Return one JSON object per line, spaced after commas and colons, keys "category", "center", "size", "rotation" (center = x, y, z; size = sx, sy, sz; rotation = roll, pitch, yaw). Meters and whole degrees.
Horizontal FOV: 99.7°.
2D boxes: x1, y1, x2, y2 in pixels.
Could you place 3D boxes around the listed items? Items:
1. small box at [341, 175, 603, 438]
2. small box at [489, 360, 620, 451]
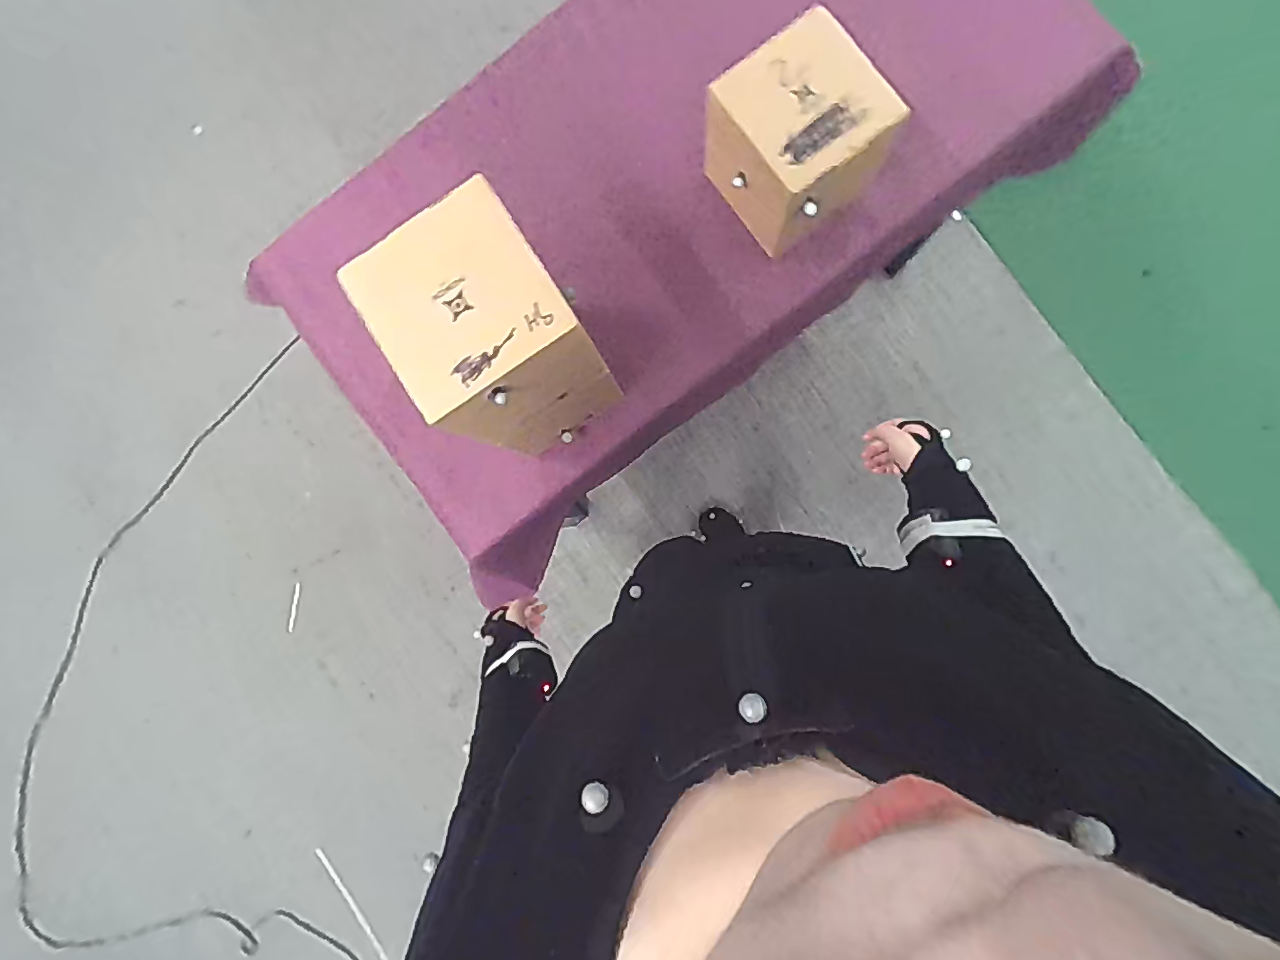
{"category": "small box", "center": [-0.161, -0.163, 0.573], "size": [0.168, 0.176, 0.179], "rotation": [-34, 83, 5]}
{"category": "small box", "center": [-0.145, -0.156, 0.737], "size": [0.168, 0.176, 0.179], "rotation": [-33, 85, 4]}
